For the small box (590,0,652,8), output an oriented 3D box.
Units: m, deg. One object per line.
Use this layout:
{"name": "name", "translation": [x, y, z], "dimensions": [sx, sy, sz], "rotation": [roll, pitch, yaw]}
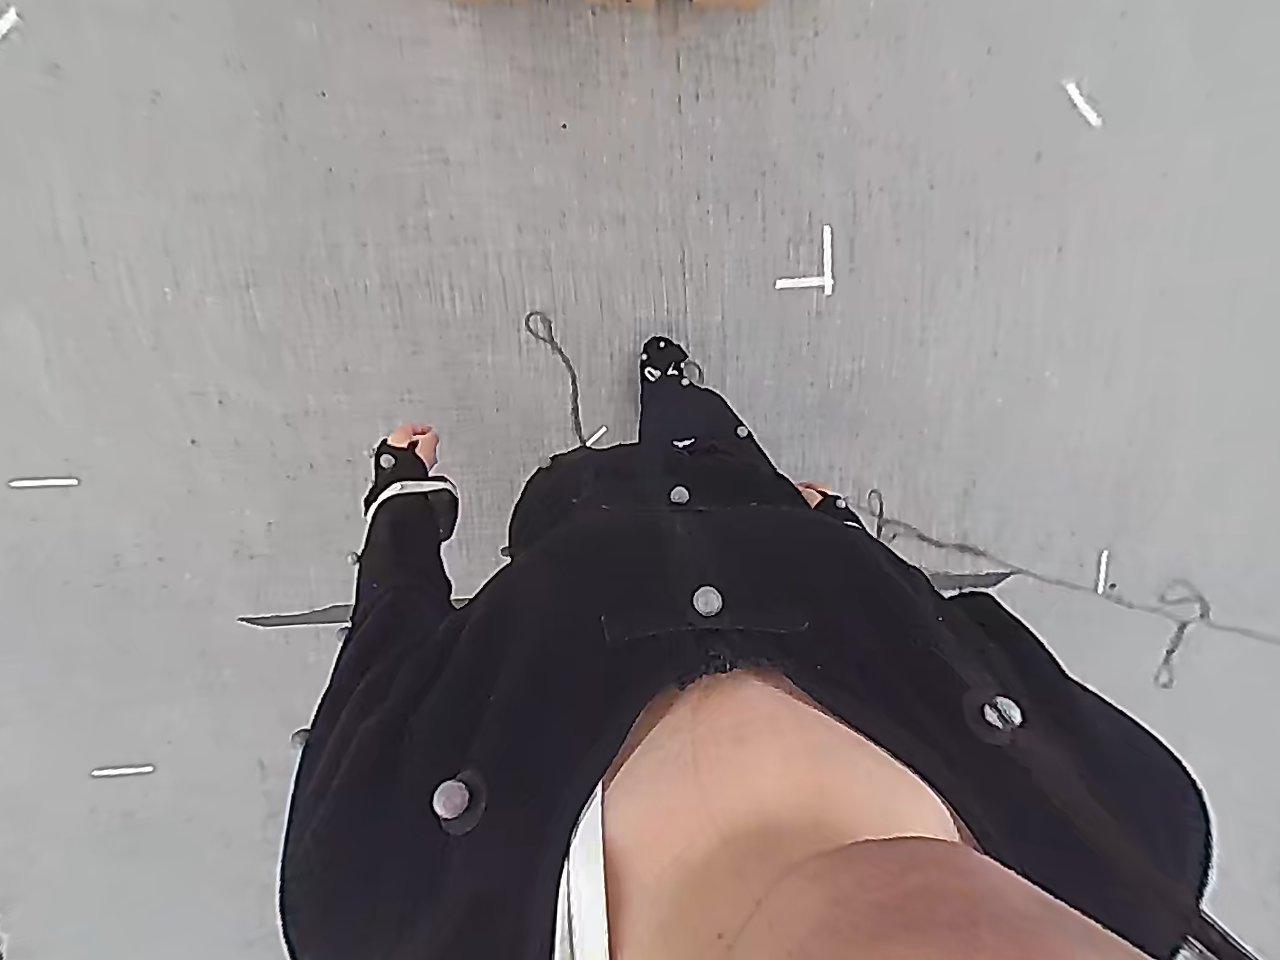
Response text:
{"name": "small box", "translation": [-0.043, -1.213, 1.203], "dimensions": [0.168, 0.176, 0.179], "rotation": [0, 99, -4]}
